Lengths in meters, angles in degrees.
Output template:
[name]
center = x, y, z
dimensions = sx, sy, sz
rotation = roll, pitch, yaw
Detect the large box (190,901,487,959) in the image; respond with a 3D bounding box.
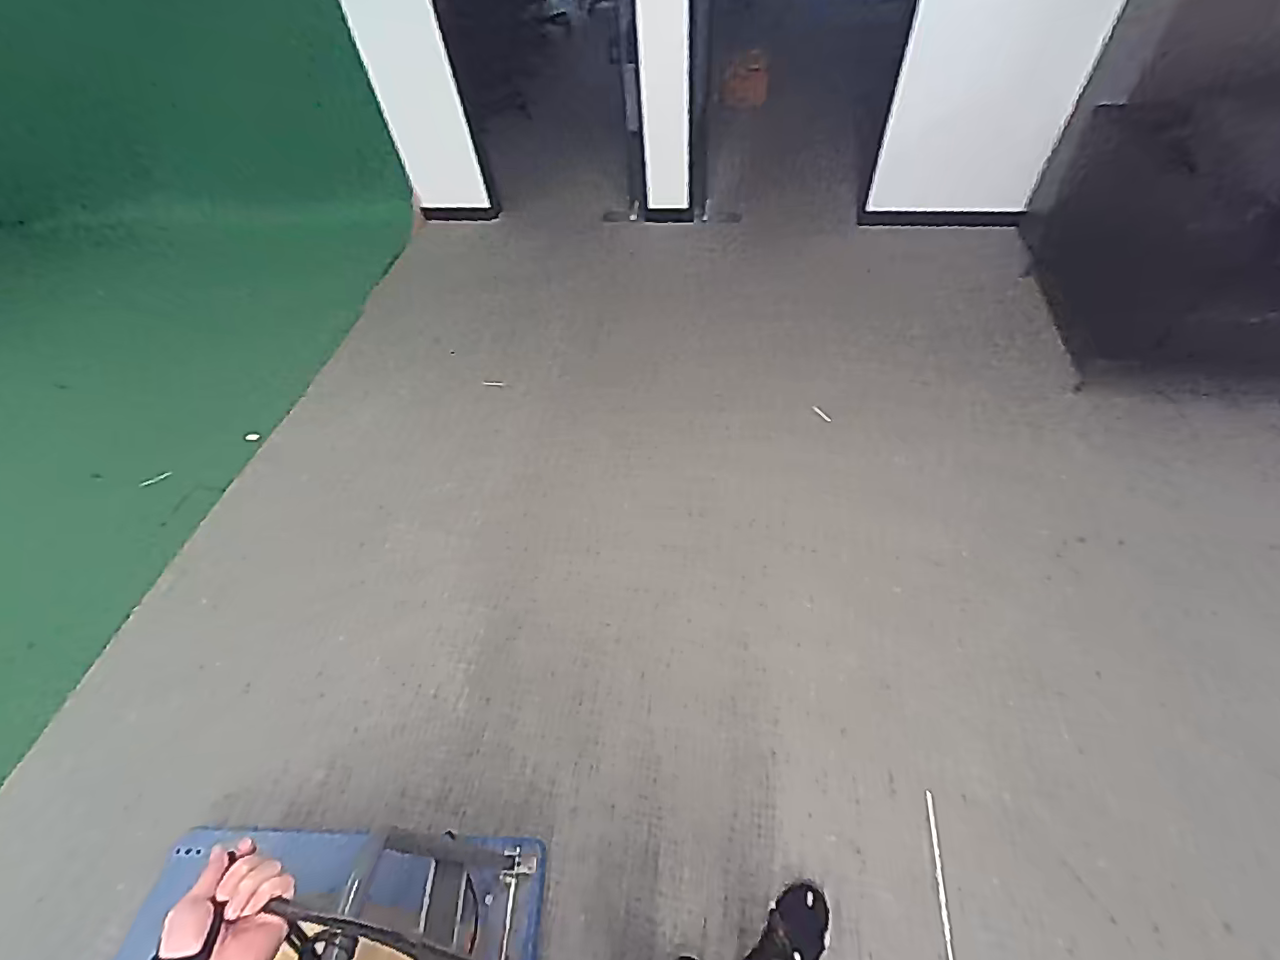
[large box]
center = -0.530, 0.941, 0.924
dimensions = 0.408, 0.320, 0.320
rotation = 3, 53, 8
